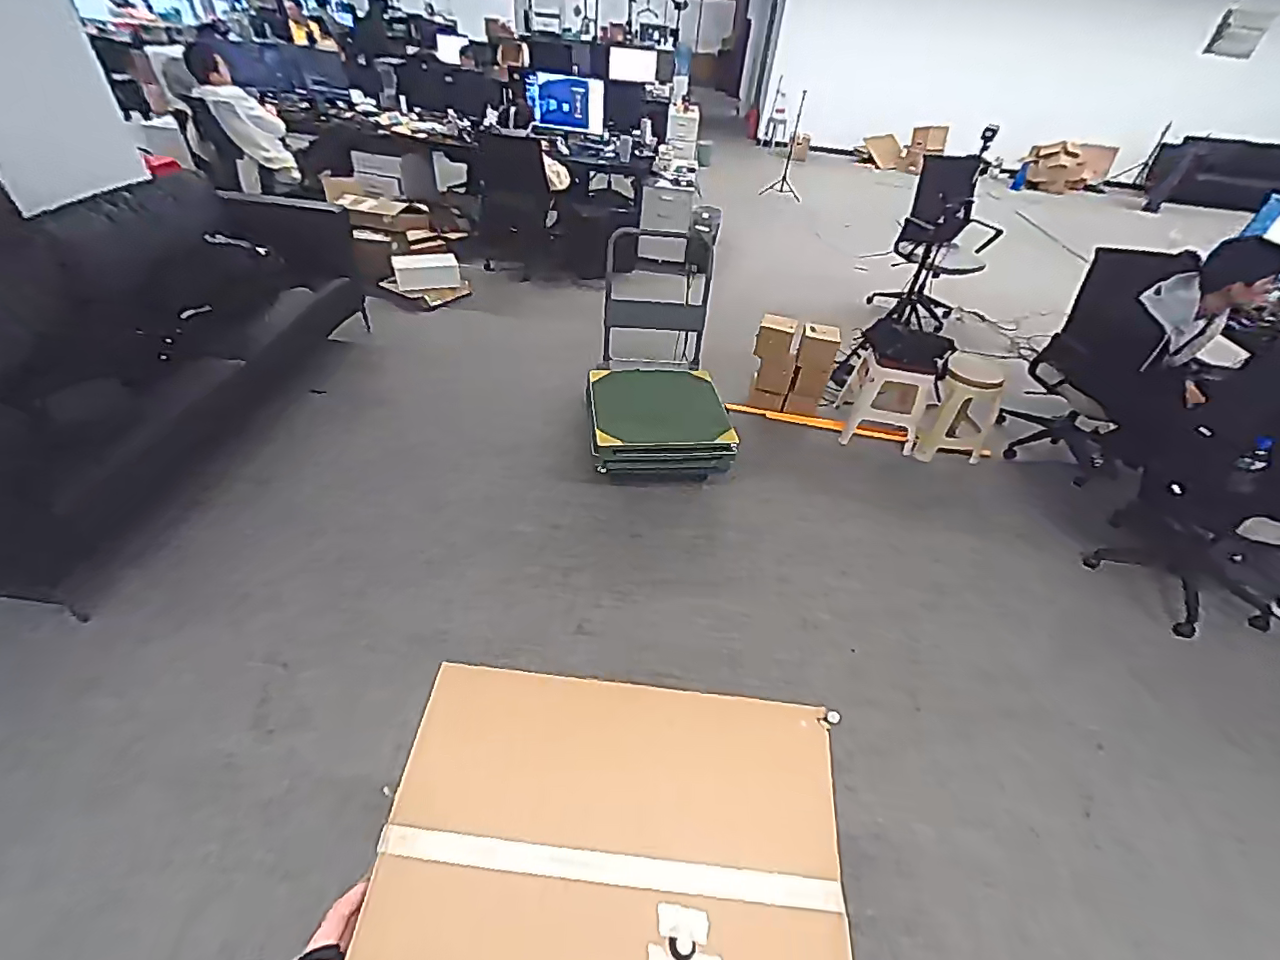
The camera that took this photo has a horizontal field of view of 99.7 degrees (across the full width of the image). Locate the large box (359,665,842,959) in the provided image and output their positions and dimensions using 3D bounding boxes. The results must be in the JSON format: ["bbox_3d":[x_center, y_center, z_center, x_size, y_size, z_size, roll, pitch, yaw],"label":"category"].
[{"bbox_3d":[-0.031,0.426,0.604,0.408,0.320,0.320,6,54,2],"label":"large box"}]
